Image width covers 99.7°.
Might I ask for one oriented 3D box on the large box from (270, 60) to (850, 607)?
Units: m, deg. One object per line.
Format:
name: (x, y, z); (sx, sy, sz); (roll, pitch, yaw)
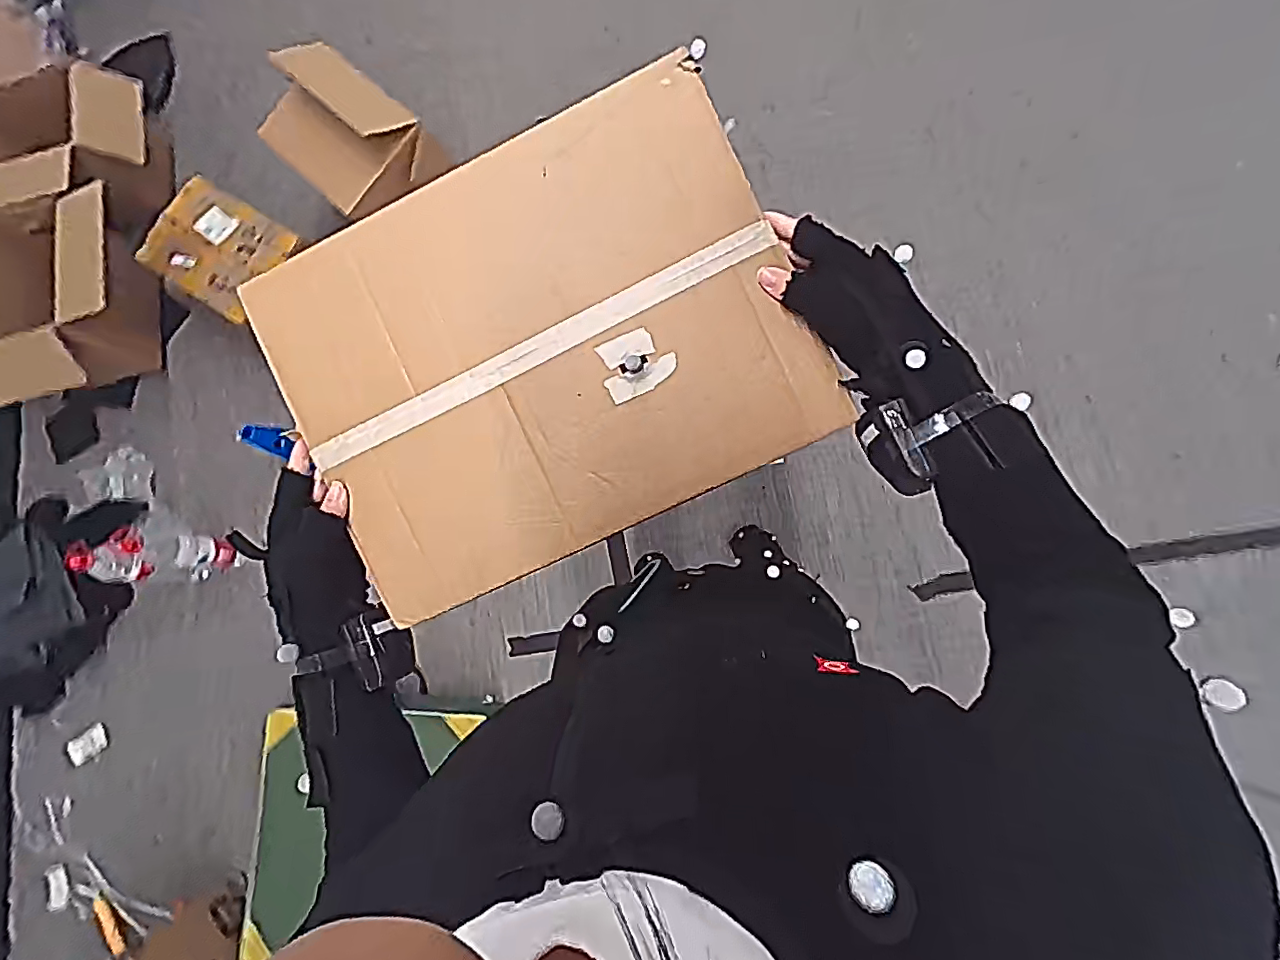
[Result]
large box: (-0.064, -0.115, 0.586); (0.408, 0.320, 0.320); (-24, 91, 4)
